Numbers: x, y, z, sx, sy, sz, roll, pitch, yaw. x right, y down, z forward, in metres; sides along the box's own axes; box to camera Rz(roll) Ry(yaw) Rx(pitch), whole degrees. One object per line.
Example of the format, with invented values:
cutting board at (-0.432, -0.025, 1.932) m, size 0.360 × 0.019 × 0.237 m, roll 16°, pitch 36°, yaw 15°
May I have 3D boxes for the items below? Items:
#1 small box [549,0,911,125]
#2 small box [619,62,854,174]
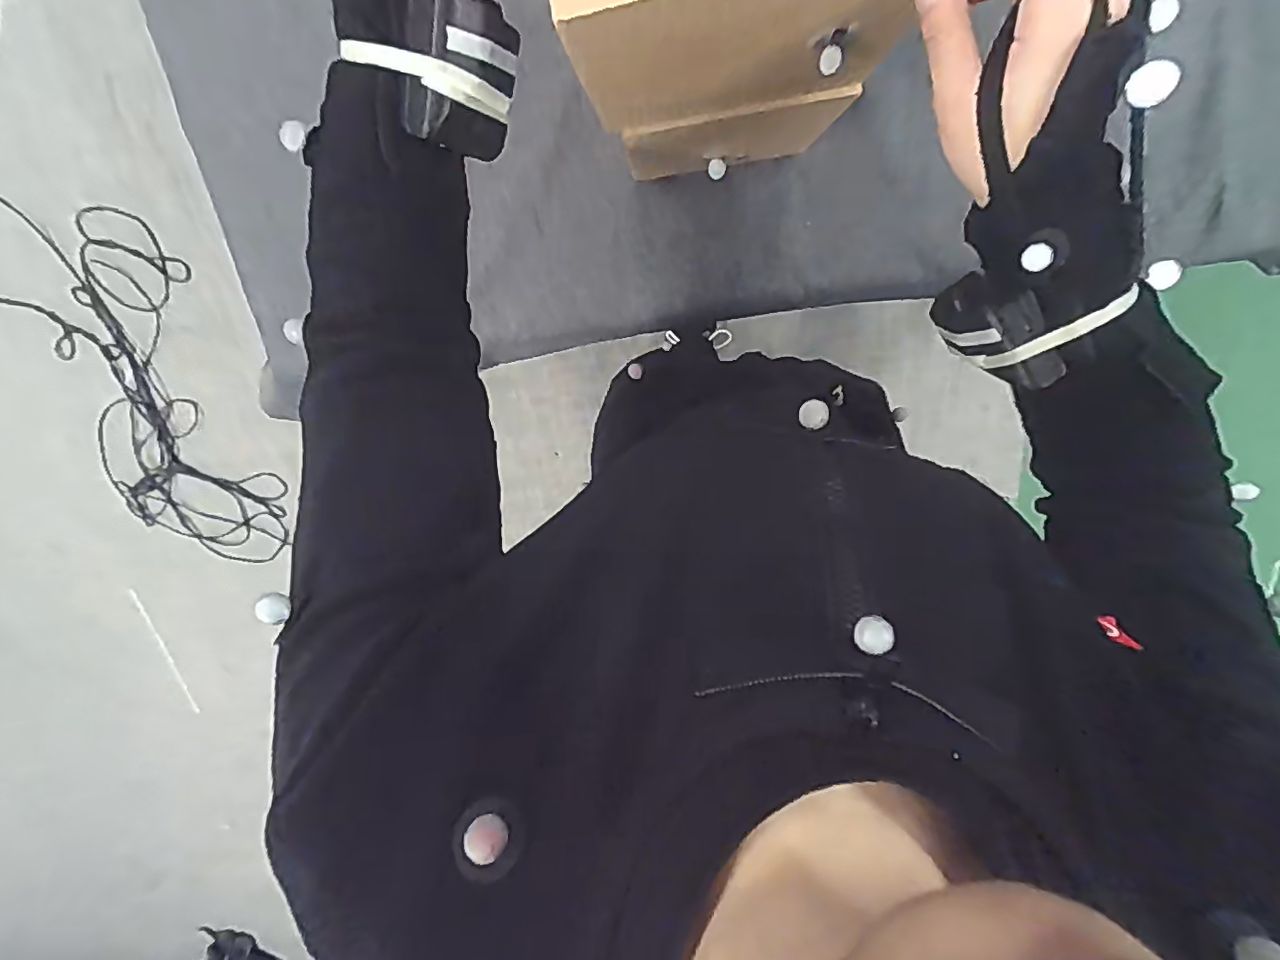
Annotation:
small box at (0.042, -0.304, 0.266) m, size 0.179 × 0.176 × 0.168 m, roll -7°, pitch 107°, yaw 7°
small box at (0.057, -0.361, 0.418) m, size 0.168 × 0.176 × 0.179 m, roll -6°, pitch 110°, yaw 6°
